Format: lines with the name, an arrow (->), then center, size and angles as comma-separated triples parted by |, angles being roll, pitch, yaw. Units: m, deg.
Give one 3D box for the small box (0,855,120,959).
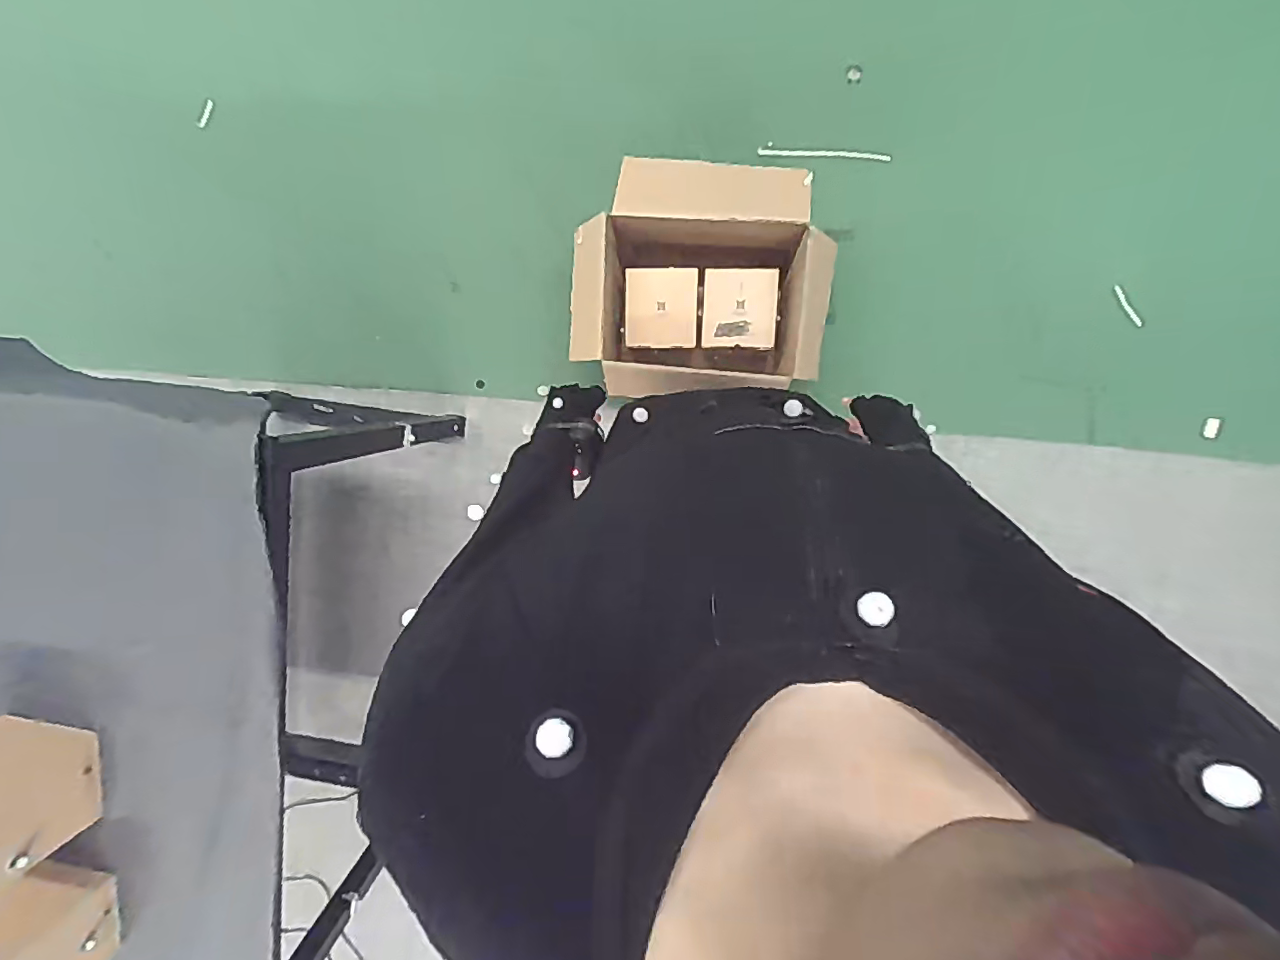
small box -> -1.025, 0.764, 0.893 | 0.179, 0.176, 0.168 | 7, 101, 3
